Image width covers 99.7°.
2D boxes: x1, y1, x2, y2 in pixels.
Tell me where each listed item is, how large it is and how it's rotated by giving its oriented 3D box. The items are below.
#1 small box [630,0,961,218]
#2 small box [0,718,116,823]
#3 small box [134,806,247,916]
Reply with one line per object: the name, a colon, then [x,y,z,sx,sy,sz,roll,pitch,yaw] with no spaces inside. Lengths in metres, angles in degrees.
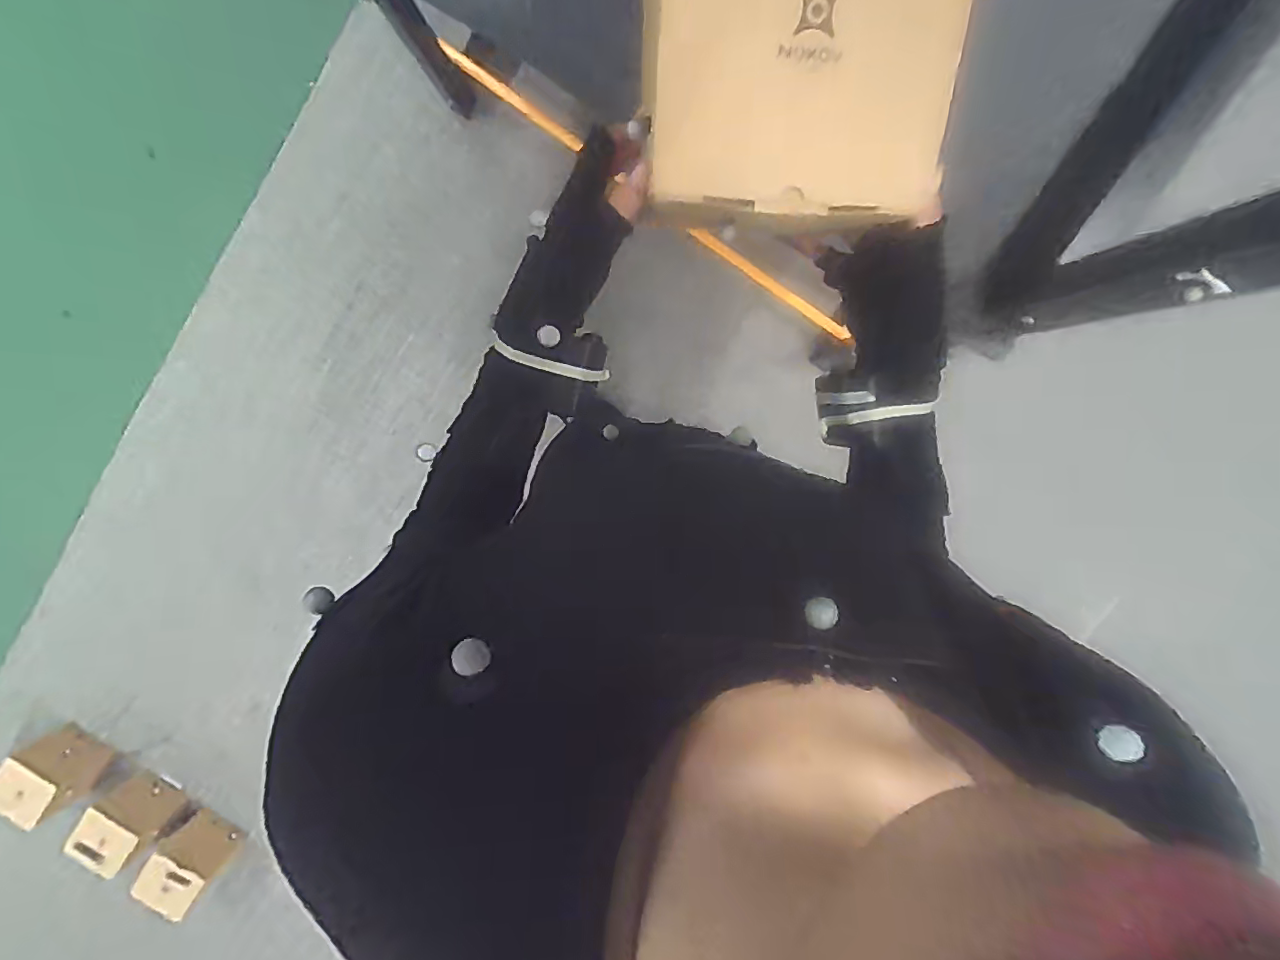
small box: [0.080,-0.277,0.350,0.168,0.176,0.179,1,112,-3]
small box: [-1.720,0.847,1.594,0.168,0.176,0.179,36,98,-2]
small box: [-1.329,1.127,1.614,0.168,0.176,0.179,35,99,-3]
